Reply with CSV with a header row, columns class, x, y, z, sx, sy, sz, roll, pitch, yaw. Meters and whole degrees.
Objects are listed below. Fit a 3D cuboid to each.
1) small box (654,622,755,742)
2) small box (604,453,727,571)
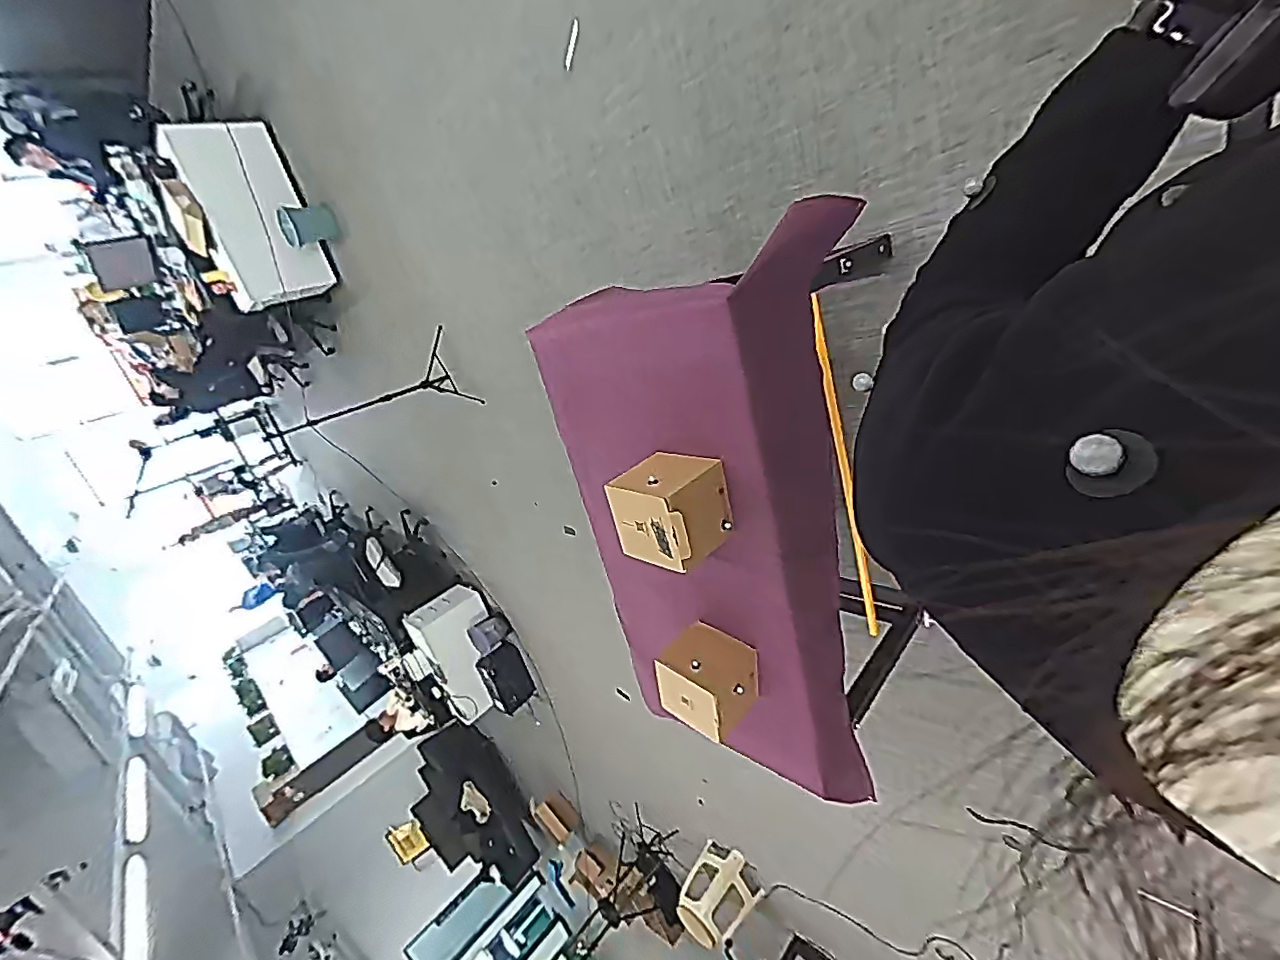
class,x,y,z,sx,sy,sz,roll,pitch,yaw
small box,0.160,0.469,1.285,0.179,0.176,0.168,19,128,40
small box,0.061,0.055,1.096,0.179,0.176,0.168,11,123,46
